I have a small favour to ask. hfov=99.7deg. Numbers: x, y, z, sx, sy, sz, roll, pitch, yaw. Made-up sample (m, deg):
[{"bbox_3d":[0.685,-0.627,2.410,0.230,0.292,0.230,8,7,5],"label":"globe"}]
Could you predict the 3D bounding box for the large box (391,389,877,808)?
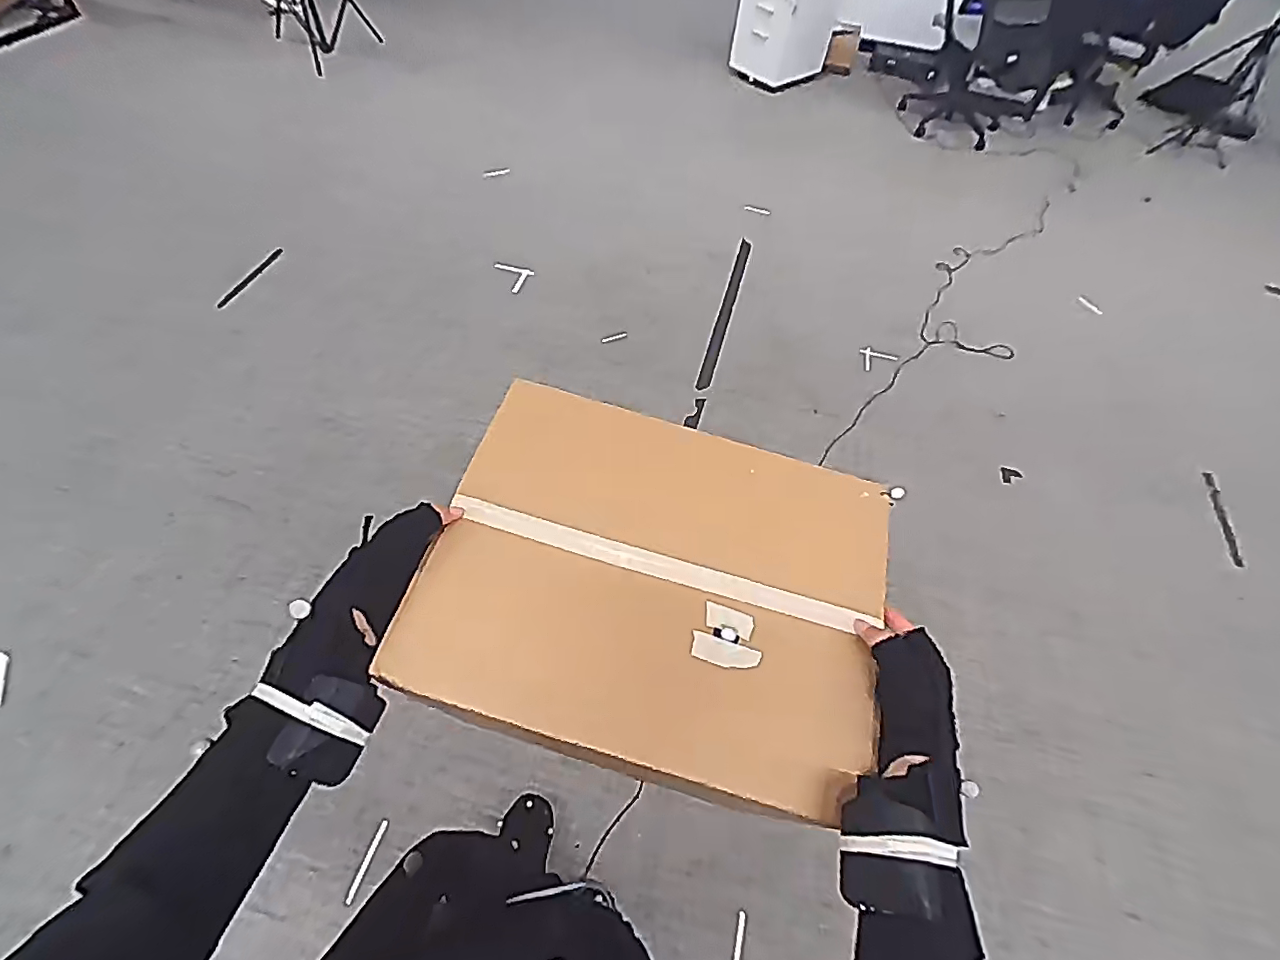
[{"bbox_3d":[0.004,0.150,0.633,0.408,0.320,0.320,17,62,1],"label":"large box"}]
